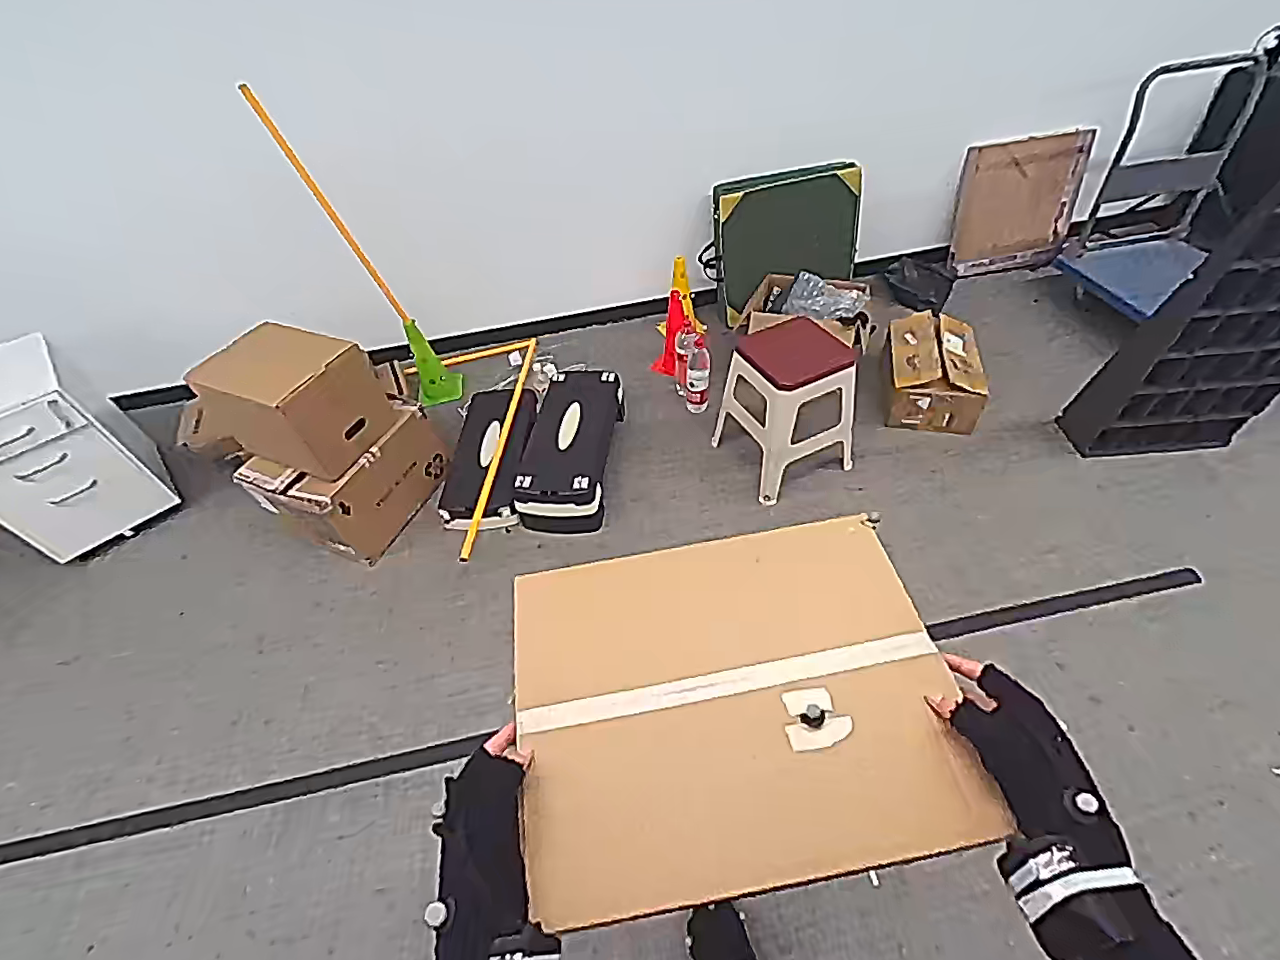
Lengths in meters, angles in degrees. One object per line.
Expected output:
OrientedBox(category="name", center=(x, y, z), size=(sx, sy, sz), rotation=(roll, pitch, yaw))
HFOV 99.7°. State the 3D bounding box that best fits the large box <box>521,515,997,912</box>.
OrientedBox(category="large box", center=(0.093, 0.285, 0.650), size=(0.408, 0.320, 0.320), rotation=(-10, 52, -2))
